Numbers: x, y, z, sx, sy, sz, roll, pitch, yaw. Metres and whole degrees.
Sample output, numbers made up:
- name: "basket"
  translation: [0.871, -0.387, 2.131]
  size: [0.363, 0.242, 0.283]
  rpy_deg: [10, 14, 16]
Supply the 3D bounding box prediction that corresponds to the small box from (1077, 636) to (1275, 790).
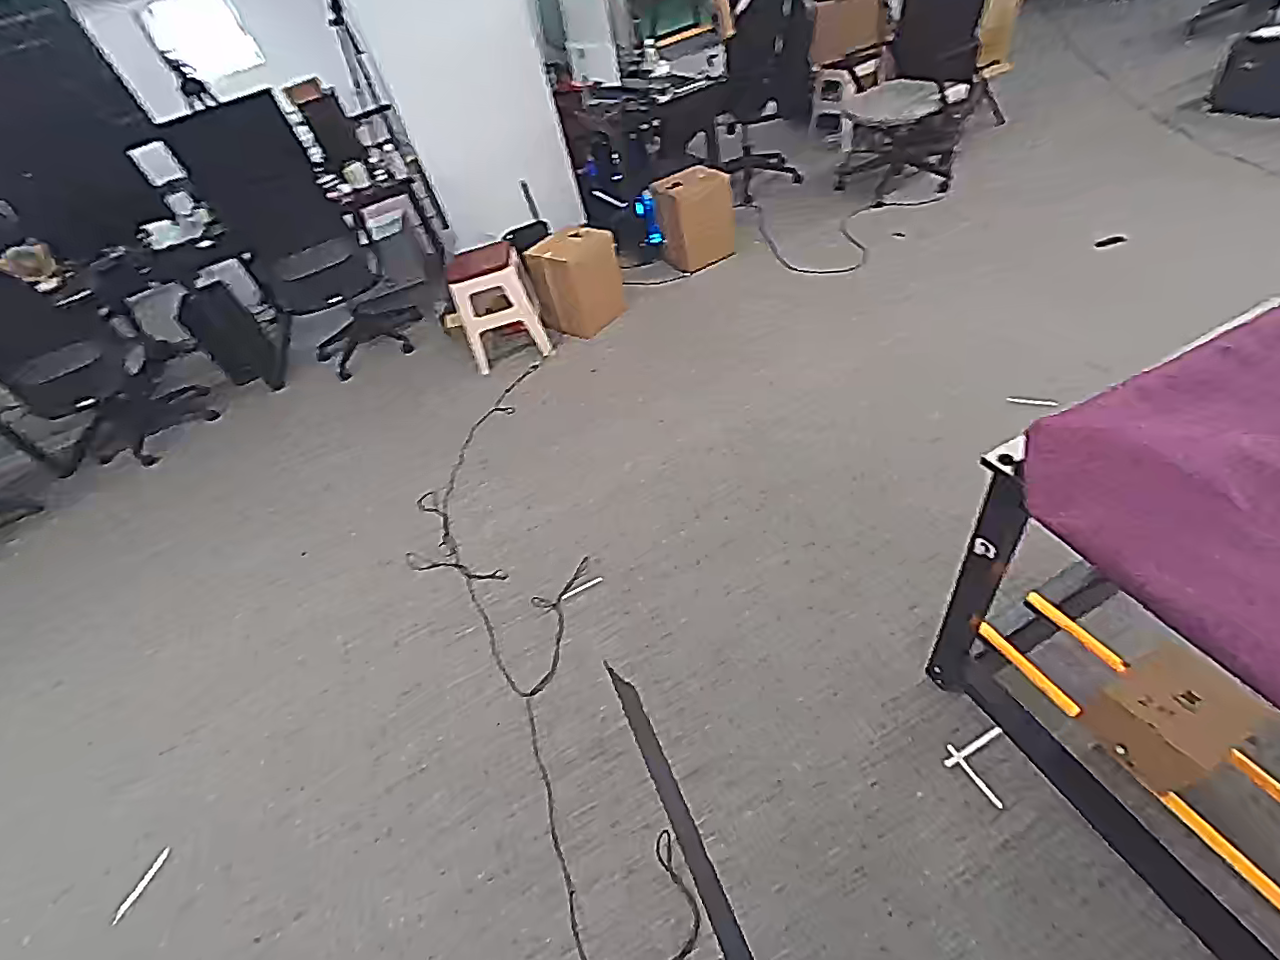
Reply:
- name: "small box"
  translation: [0.952, 0.424, 0.983]
  size: [0.179, 0.176, 0.168]
  rpy_deg: [-30, 46, -9]
